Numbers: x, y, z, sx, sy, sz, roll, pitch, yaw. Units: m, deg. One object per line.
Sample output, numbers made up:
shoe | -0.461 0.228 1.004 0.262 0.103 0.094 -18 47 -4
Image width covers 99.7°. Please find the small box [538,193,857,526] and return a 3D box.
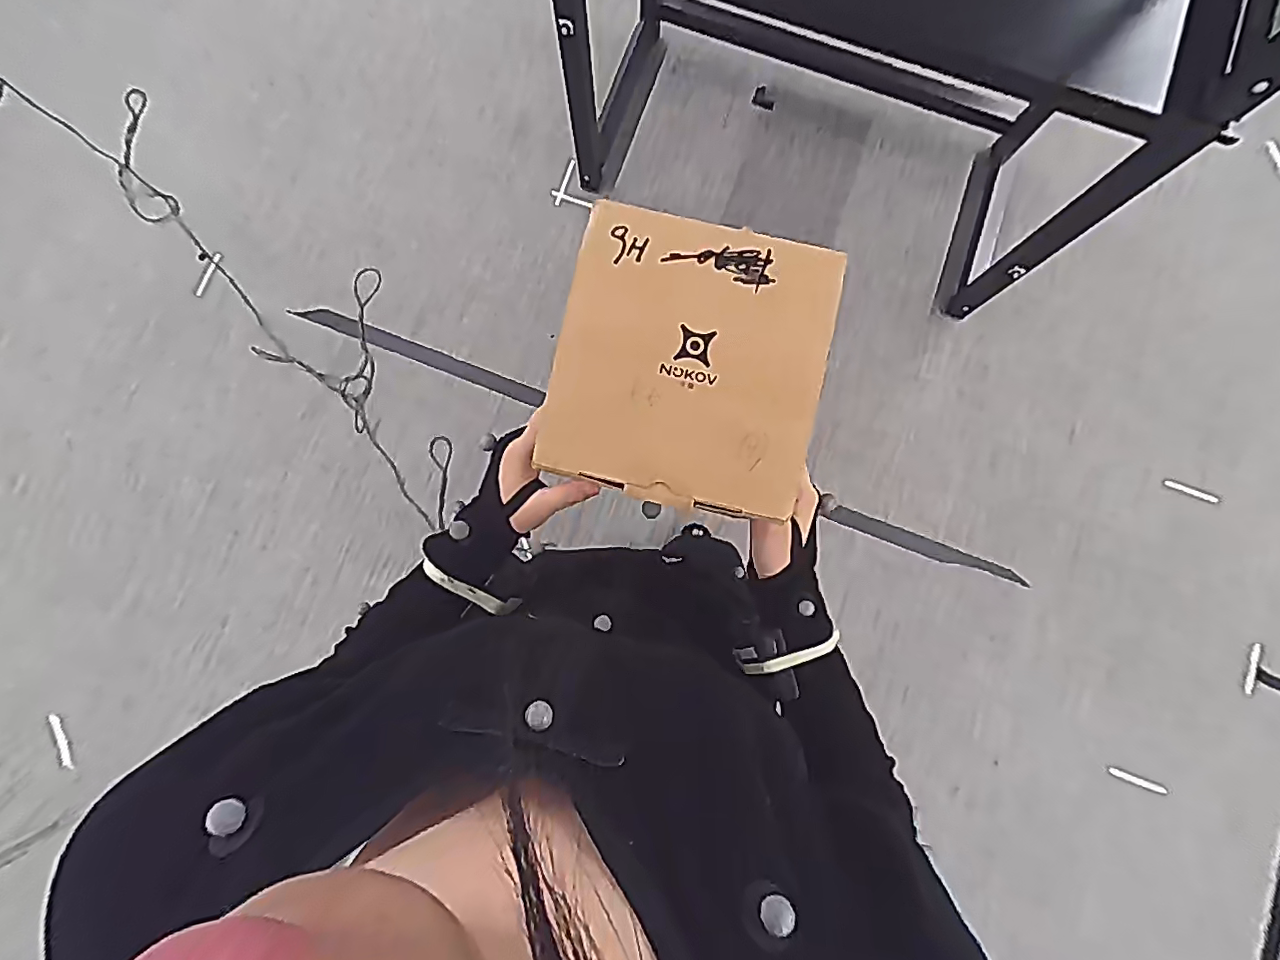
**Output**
small box | 0.035 -0.073 0.409 0.168 0.176 0.179 13 89 -1

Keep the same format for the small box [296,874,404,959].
small box | -0.687 1.088 1.281 0.168 0.176 0.179 17 84 1
